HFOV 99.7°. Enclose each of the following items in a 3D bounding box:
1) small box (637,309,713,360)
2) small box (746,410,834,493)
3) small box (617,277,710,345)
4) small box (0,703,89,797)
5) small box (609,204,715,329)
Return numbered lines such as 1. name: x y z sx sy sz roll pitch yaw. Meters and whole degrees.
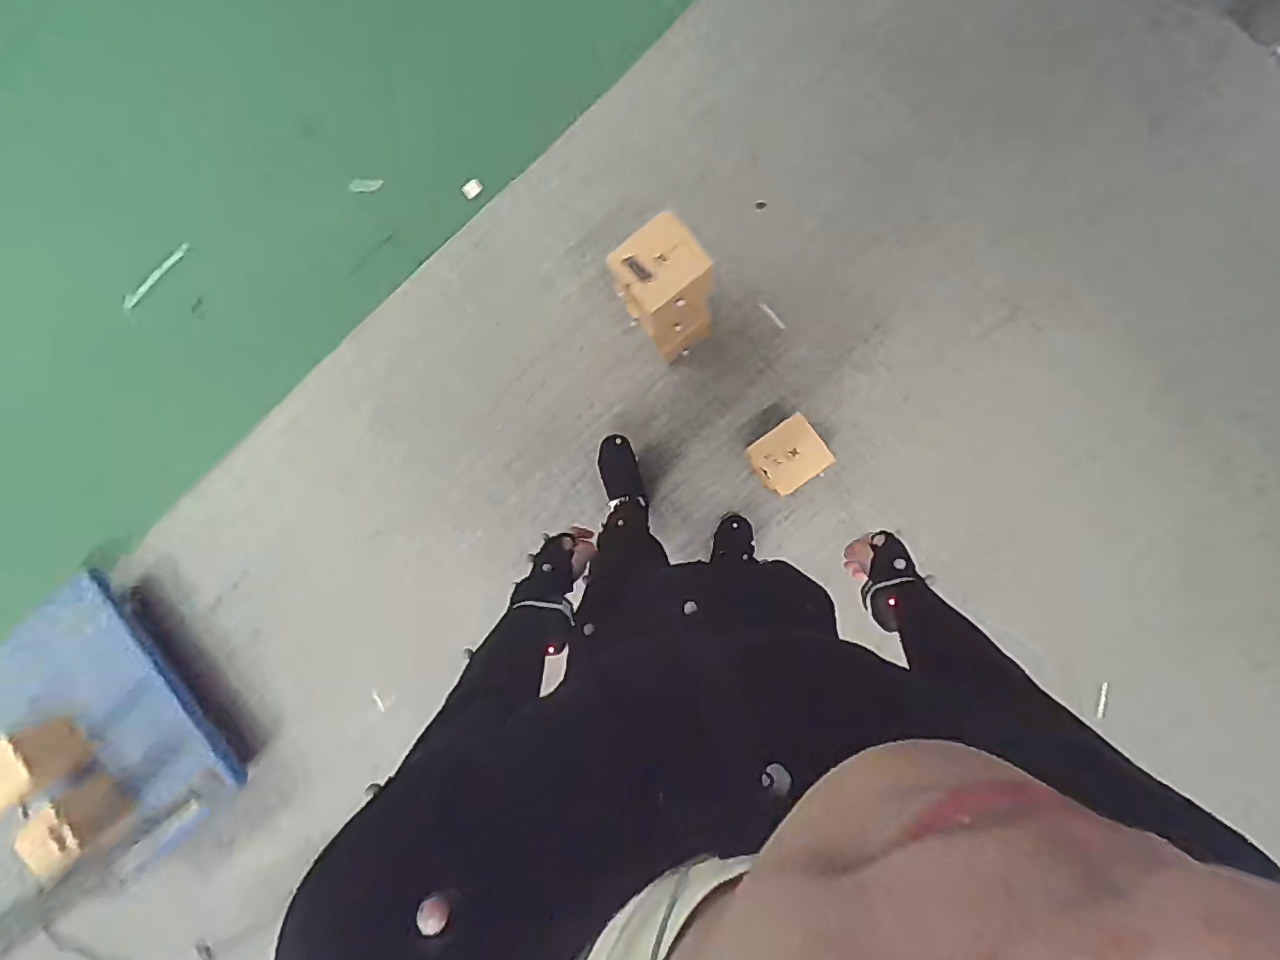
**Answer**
1. small box: 0.095 -0.473 1.559 0.168 0.176 0.179 -35 86 6
2. small box: 0.410 -0.074 1.512 0.179 0.176 0.168 -29 84 7
3. small box: 0.068 -0.476 1.398 0.179 0.176 0.168 -36 85 7
4. small box: -1.816 0.802 1.601 0.179 0.176 0.168 -40 85 4
5. small box: 0.058 -0.475 1.233 0.179 0.176 0.168 -37 85 5
